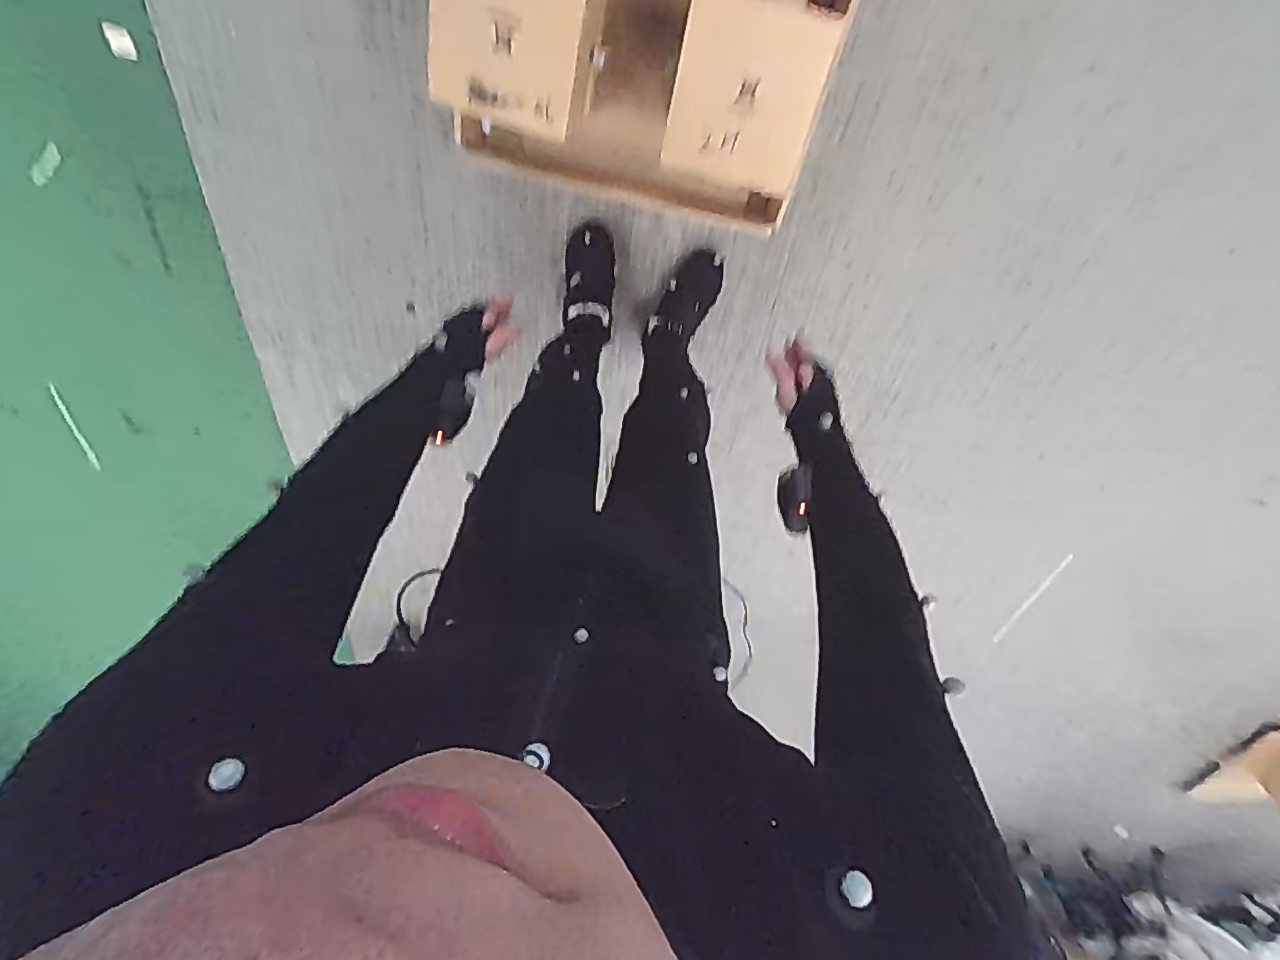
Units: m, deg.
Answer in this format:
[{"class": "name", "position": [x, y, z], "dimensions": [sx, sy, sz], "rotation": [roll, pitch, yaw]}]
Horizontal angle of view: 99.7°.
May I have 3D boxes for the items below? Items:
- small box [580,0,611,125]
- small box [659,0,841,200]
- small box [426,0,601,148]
[{"class": "small box", "position": [-0.137, -0.641, 0.783], "dimensions": [0.168, 0.176, 0.179], "rotation": [11, 126, -6]}, {"class": "small box", "position": [0.124, -0.480, 0.682], "dimensions": [0.168, 0.176, 0.179], "rotation": [13, 127, -3]}, {"class": "small box", "position": [-0.146, -0.534, 0.658], "dimensions": [0.168, 0.176, 0.179], "rotation": [14, 125, -8]}]
